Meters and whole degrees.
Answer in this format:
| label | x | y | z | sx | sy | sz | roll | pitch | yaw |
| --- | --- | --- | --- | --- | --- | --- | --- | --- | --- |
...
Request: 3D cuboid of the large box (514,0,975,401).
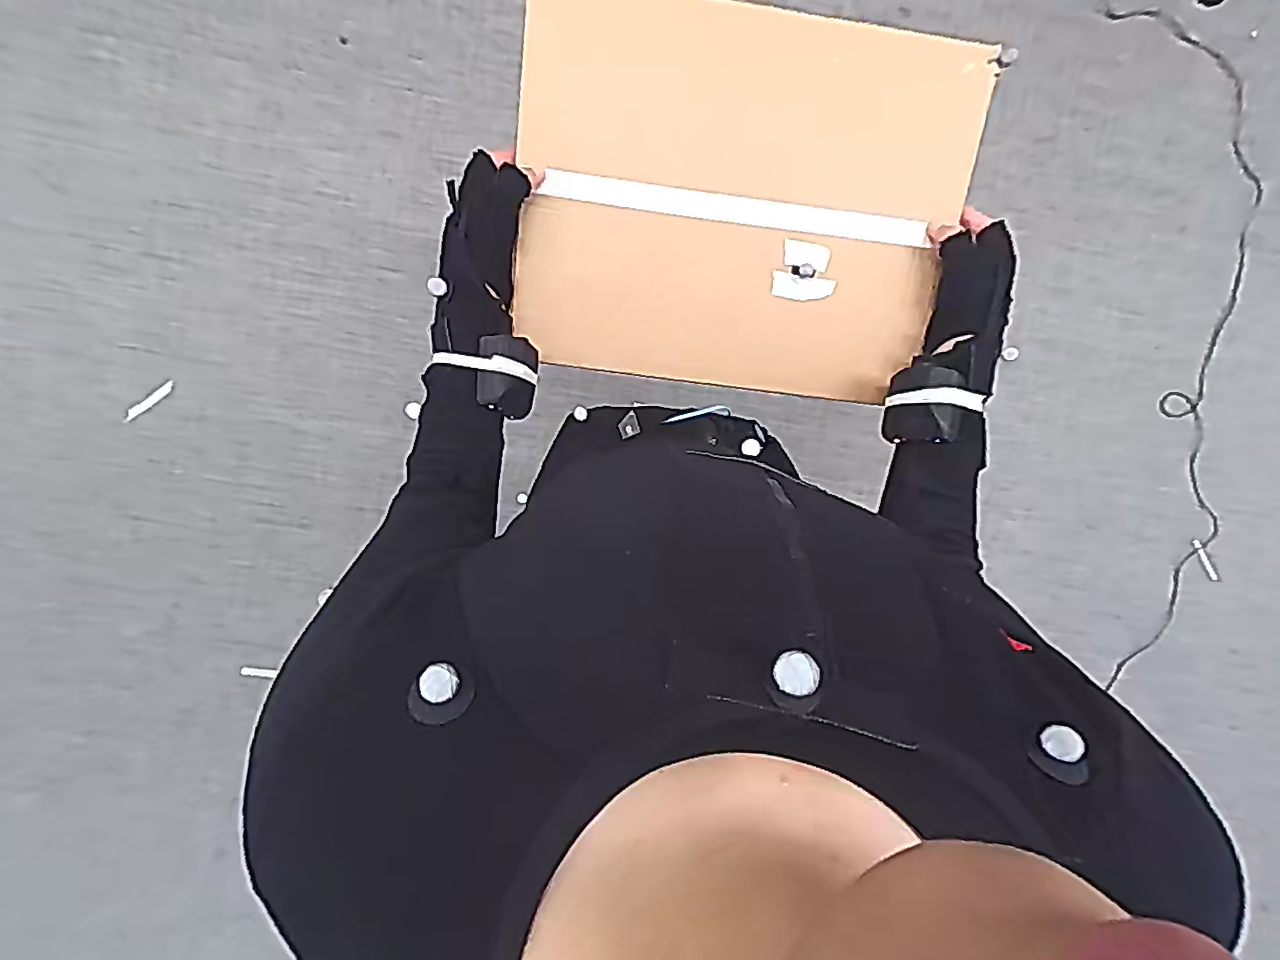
| label | x | y | z | sx | sy | sz | roll | pitch | yaw |
| --- | --- | --- | --- | --- | --- | --- | --- | --- | --- |
| large box | 0.079 | -0.282 | 0.648 | 0.408 | 0.320 | 0.320 | 6 | 105 | -5 |
